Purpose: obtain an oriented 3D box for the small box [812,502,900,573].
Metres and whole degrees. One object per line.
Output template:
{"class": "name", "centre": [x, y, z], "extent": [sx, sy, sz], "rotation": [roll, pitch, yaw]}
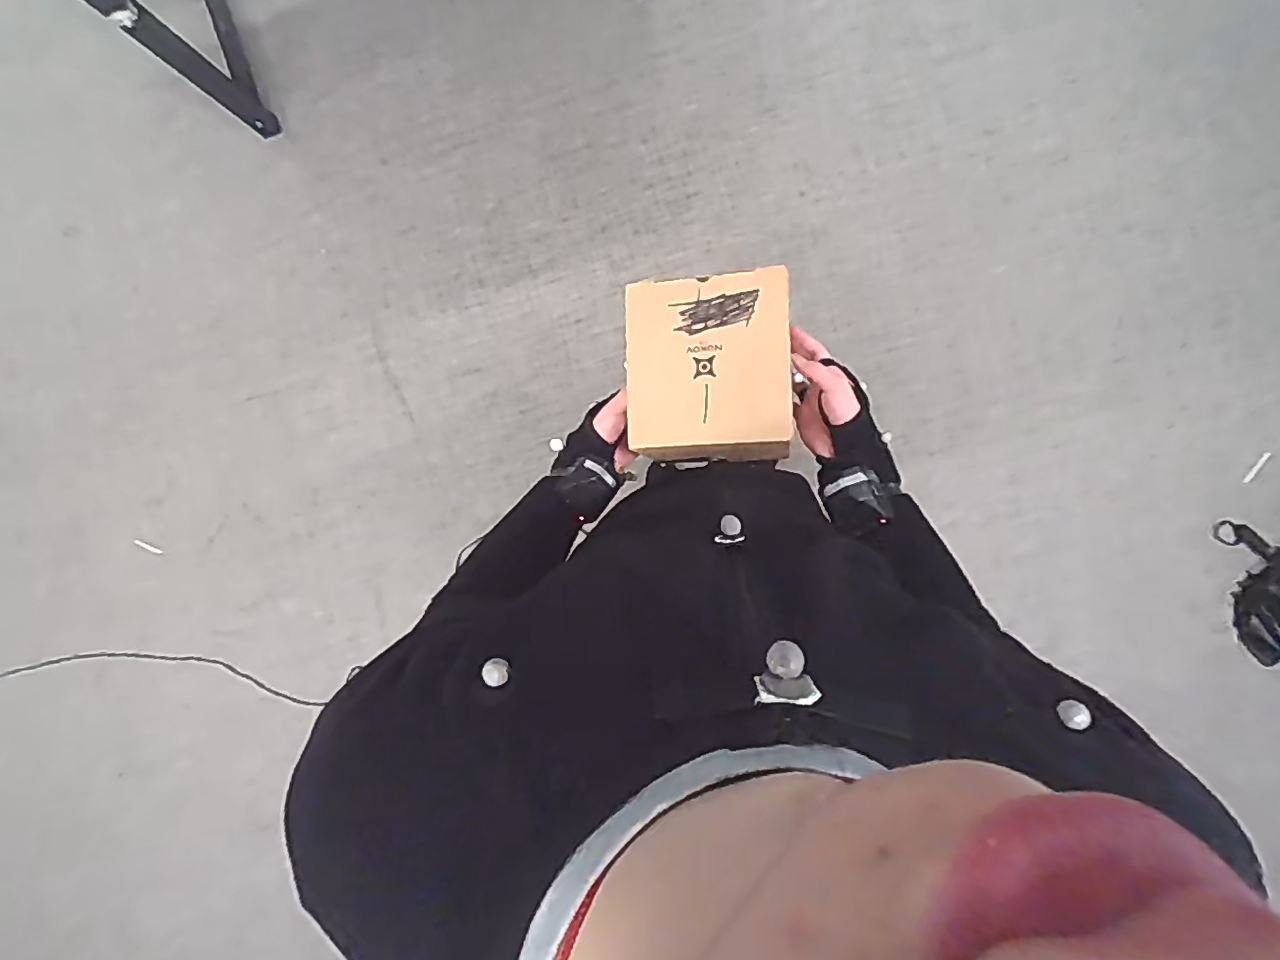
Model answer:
{"class": "small box", "centre": [0.586, 0.153, 1.482], "extent": [0.179, 0.176, 0.168], "rotation": [-5, 92, 3]}
